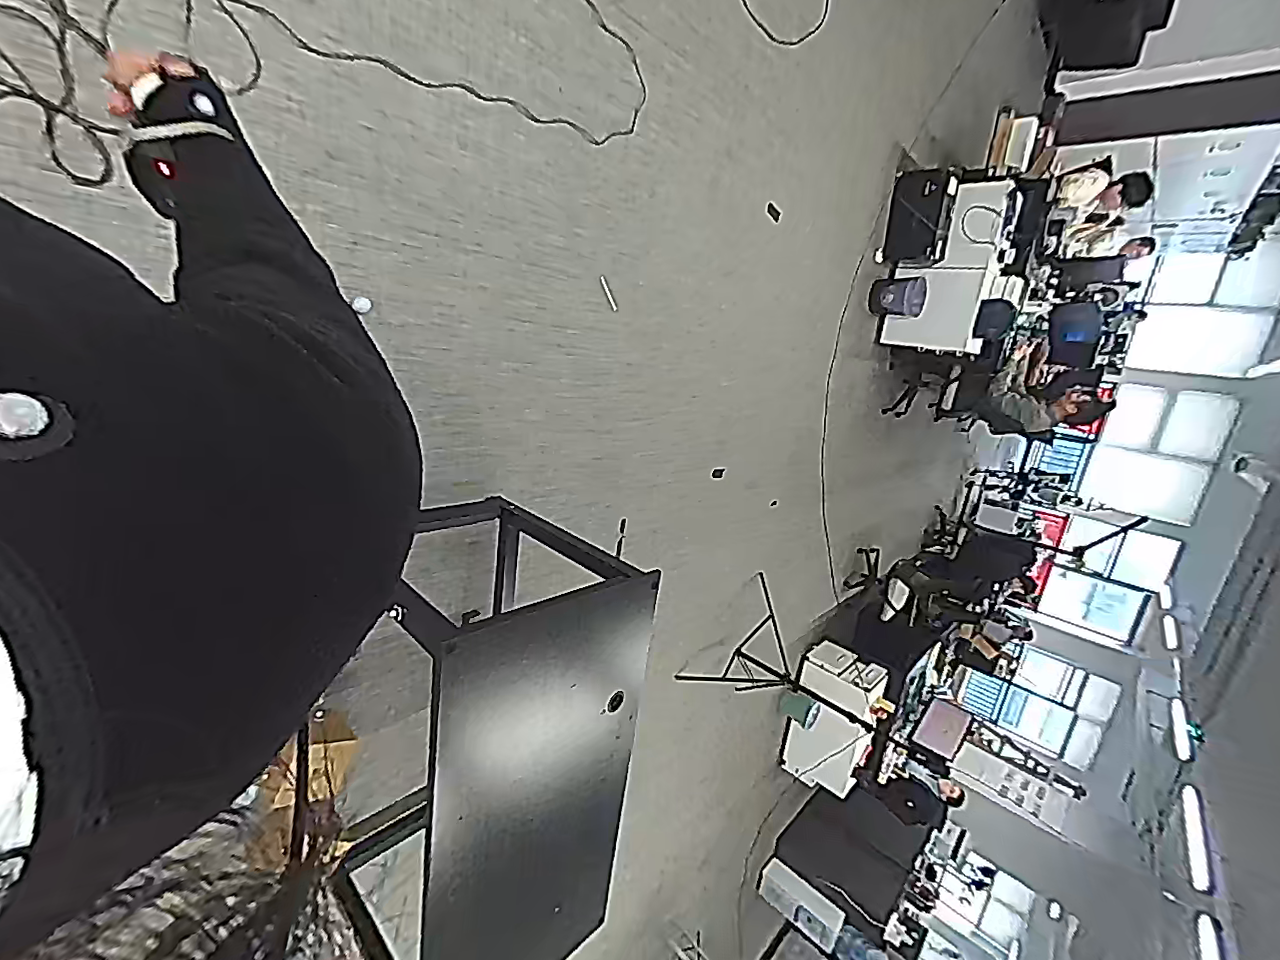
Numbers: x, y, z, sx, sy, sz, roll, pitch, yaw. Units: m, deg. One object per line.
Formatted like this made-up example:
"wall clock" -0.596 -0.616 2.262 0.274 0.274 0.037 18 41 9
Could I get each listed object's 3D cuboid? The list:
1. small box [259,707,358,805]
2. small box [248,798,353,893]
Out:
"small box" -0.938 0.767 1.522 0.168 0.176 0.179 23 87 -51
"small box" -0.991 1.060 1.579 0.168 0.176 0.179 -54 138 -19
